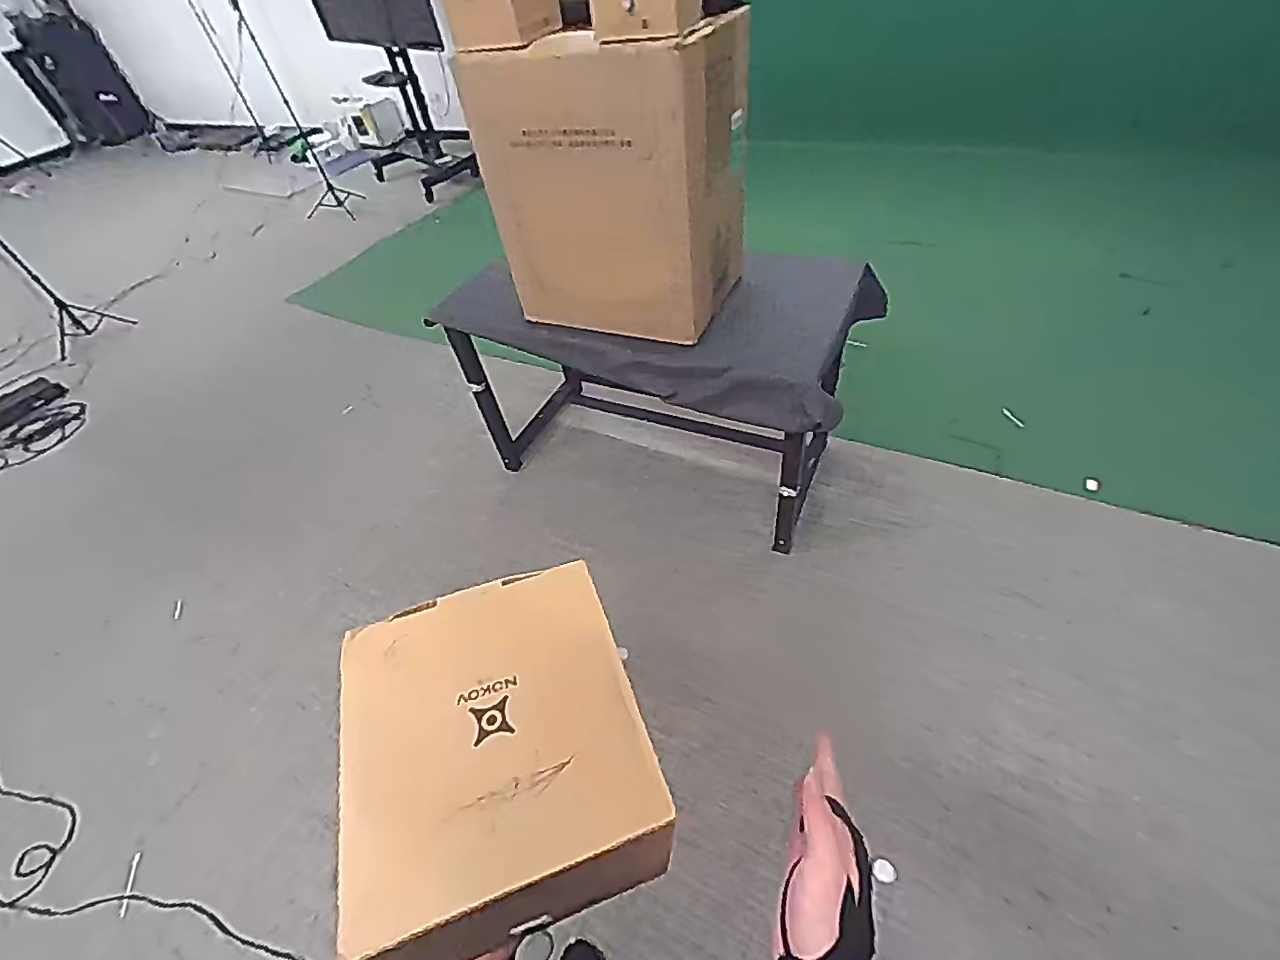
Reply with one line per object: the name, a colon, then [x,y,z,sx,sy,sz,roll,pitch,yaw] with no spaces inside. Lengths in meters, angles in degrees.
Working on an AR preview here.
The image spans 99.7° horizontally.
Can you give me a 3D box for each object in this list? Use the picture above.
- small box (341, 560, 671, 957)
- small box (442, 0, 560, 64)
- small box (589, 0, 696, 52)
small box: [-0.088,0.190,0.379,0.168,0.176,0.179,-16,48,-13]
small box: [-0.292,-0.981,1.113,0.179,0.176,0.168,13,52,23]
small box: [0.005,-0.914,0.998,0.168,0.176,0.179,10,51,18]
